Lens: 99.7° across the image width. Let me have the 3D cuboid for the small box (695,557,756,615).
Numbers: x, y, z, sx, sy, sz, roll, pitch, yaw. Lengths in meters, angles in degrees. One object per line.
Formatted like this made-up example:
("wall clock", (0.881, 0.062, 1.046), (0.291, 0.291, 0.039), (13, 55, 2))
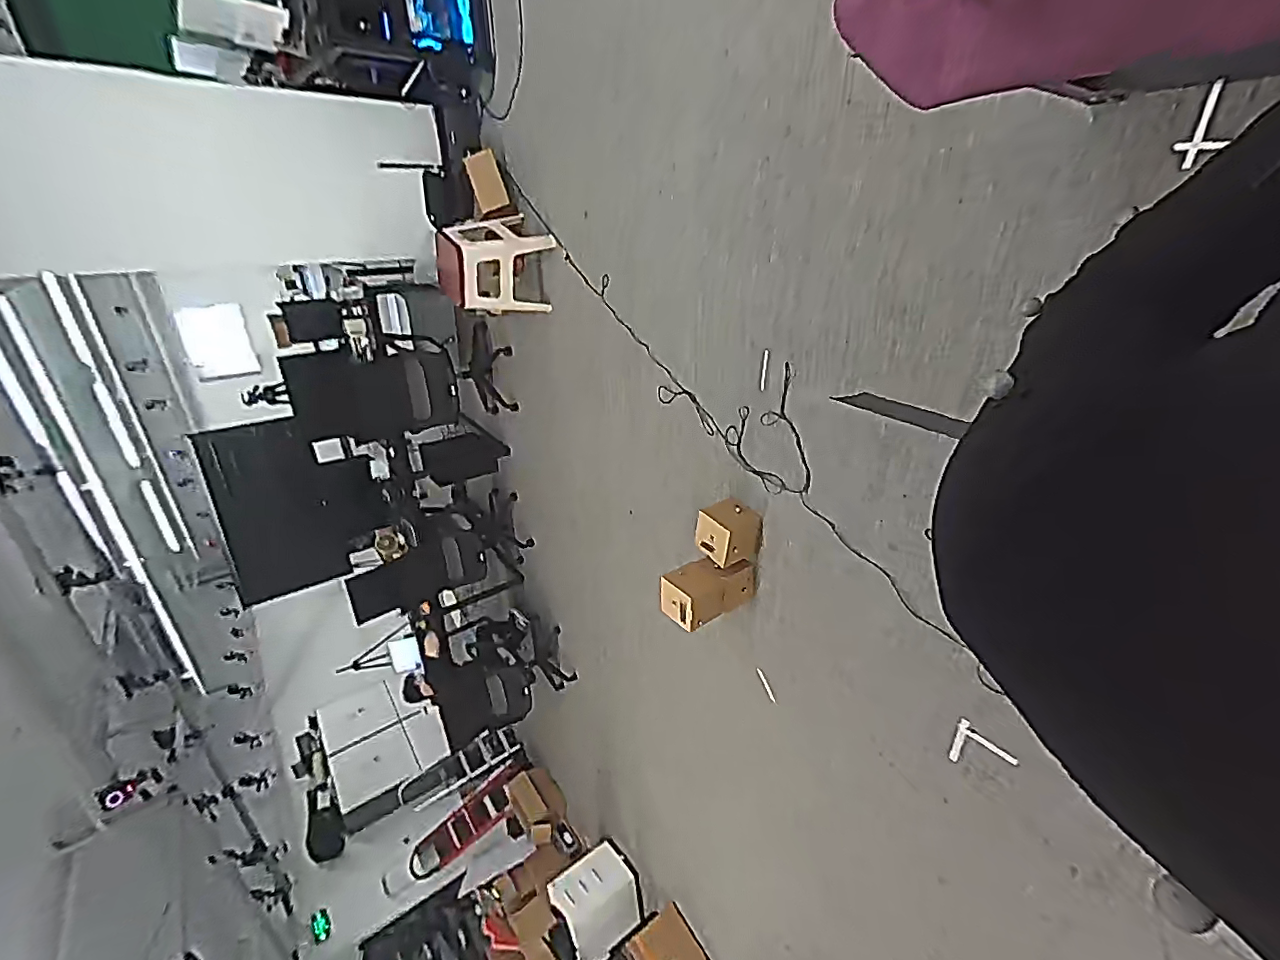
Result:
("small box", (0.340, 0.405, 2.167), (0.179, 0.176, 0.168), (23, 125, 49))

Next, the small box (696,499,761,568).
("small box", (0.337, 0.199, 2.057), (0.168, 0.176, 0.179), (37, 135, 41))
